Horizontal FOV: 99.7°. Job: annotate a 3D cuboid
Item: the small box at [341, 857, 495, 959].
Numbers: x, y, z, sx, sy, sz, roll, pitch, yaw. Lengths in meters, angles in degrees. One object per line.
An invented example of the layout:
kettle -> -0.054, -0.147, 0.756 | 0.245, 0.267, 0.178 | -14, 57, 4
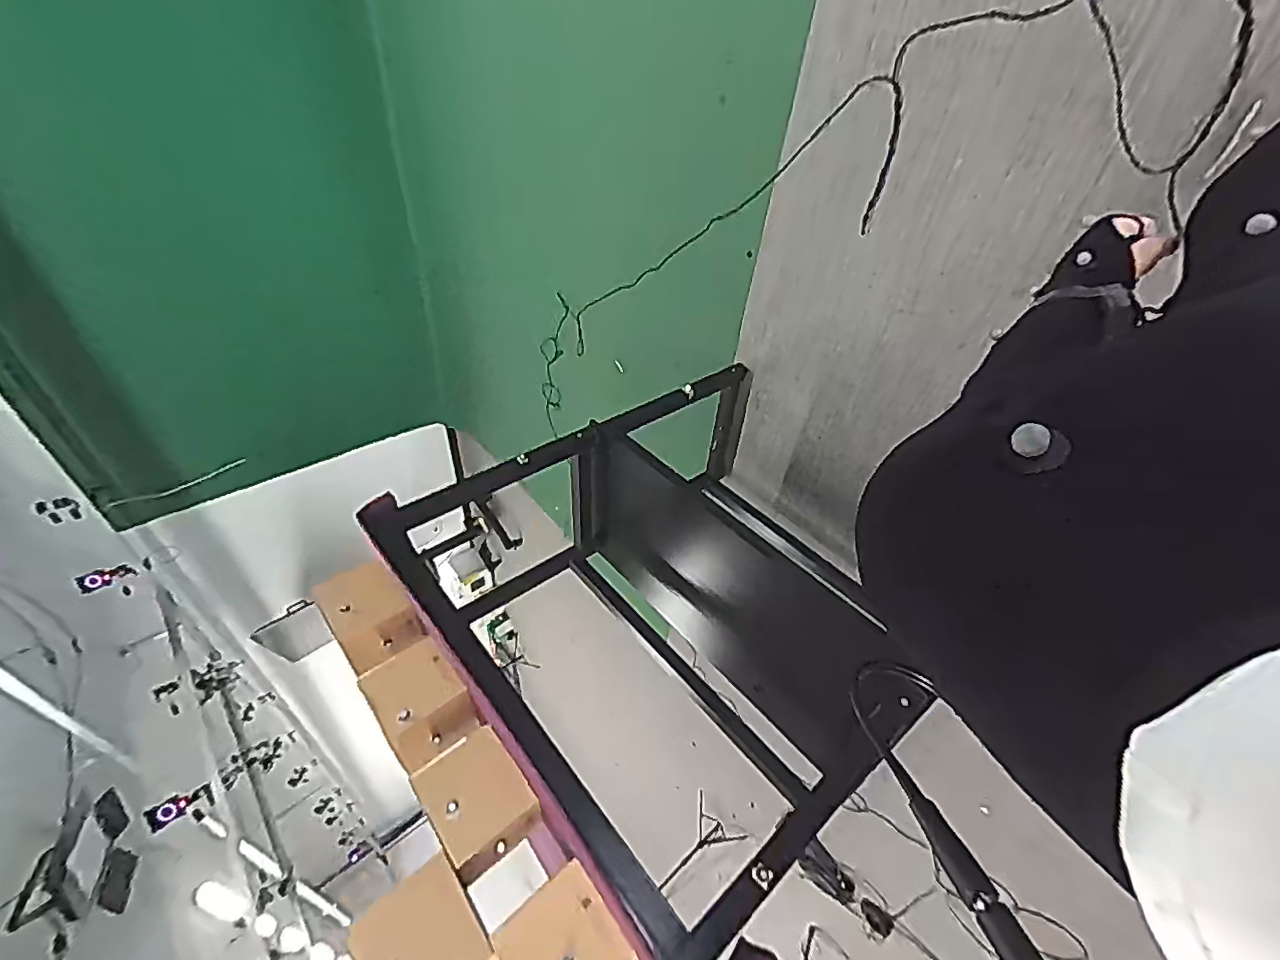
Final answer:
small box -> -0.332, 0.753, 0.853 | 0.179, 0.176, 0.168 | 39, 142, 35

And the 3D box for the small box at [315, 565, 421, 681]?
small box -> -0.640, 0.337, 1.297 | 0.179, 0.176, 0.168 | 42, 141, 29

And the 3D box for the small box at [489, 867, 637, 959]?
small box -> -0.120, 0.766, 0.867 | 0.168, 0.176, 0.179 | 42, 144, 30
